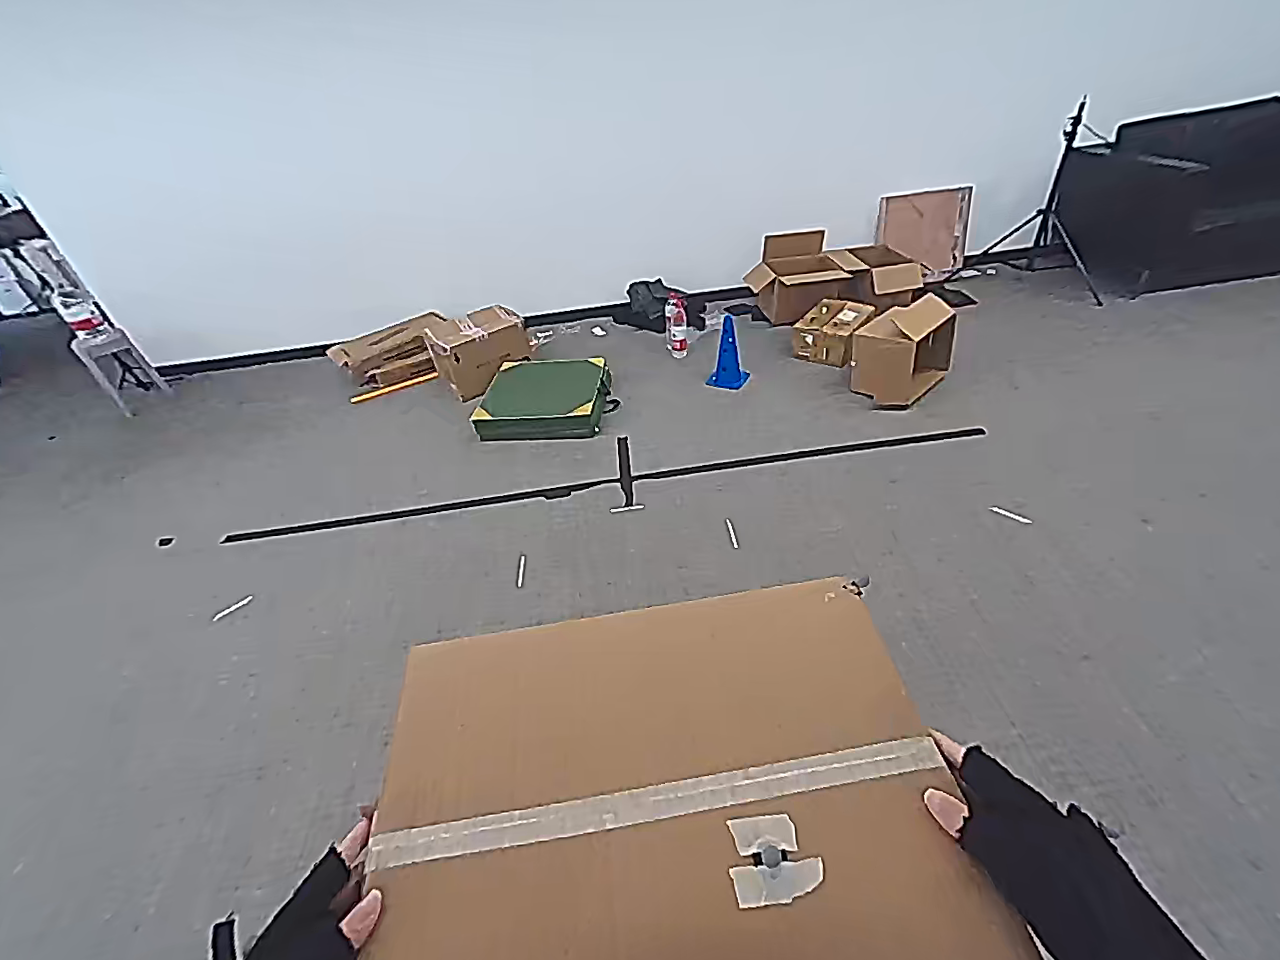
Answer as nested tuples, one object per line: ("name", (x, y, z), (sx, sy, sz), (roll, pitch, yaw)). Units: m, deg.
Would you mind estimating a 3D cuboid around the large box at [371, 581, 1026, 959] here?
("large box", (0.025, 0.337, 0.502), (0.408, 0.320, 0.320), (-8, 45, -3))
